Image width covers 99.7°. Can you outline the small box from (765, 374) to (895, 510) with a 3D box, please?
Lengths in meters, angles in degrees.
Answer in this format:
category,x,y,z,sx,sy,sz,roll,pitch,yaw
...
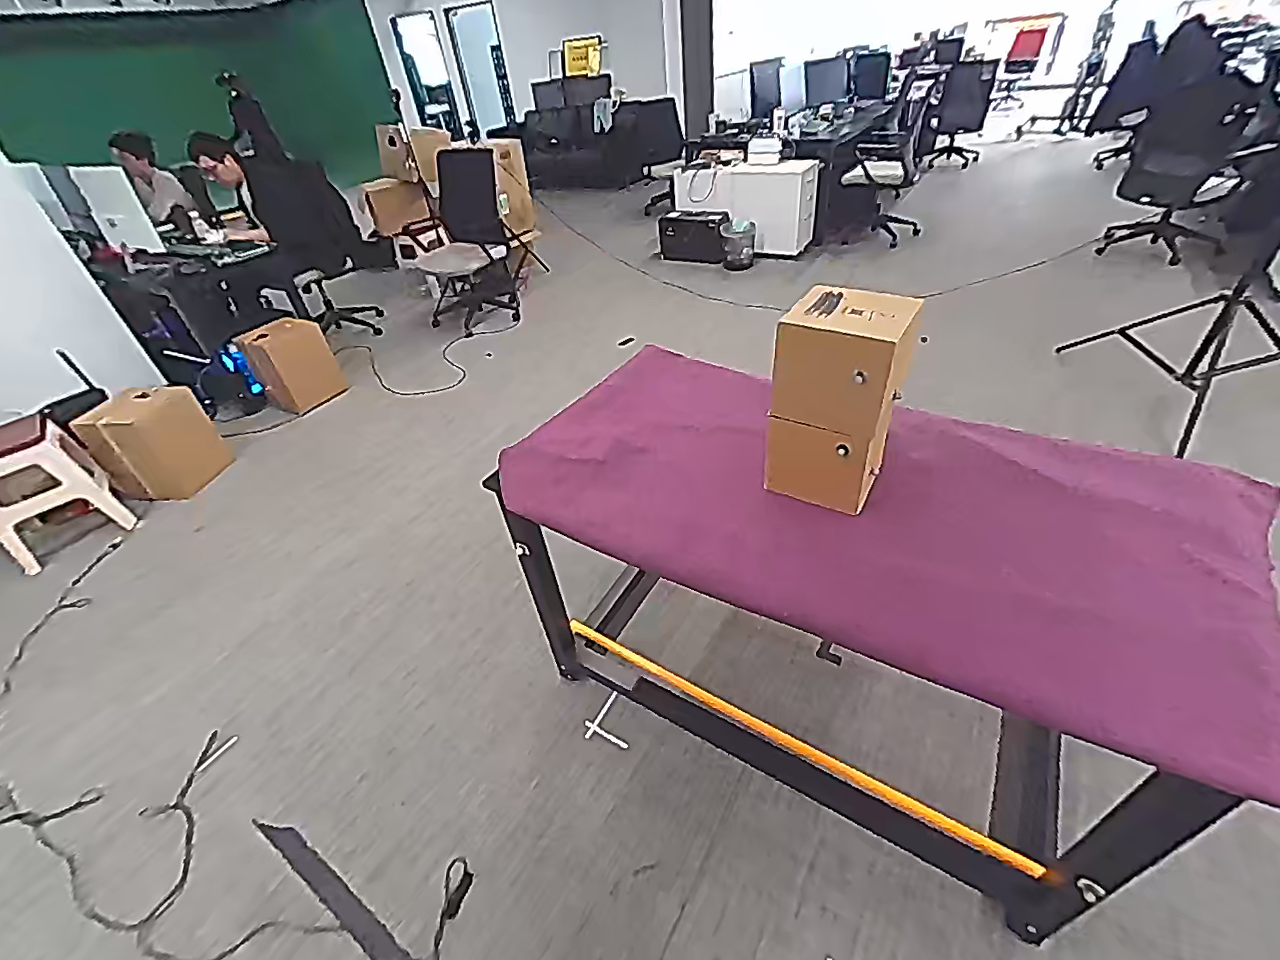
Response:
category,x,y,z,sx,sy,sz,roll,pitch,yaw
small box,0.338,-0.070,0.985,0.179,0.176,0.168,18,45,27
